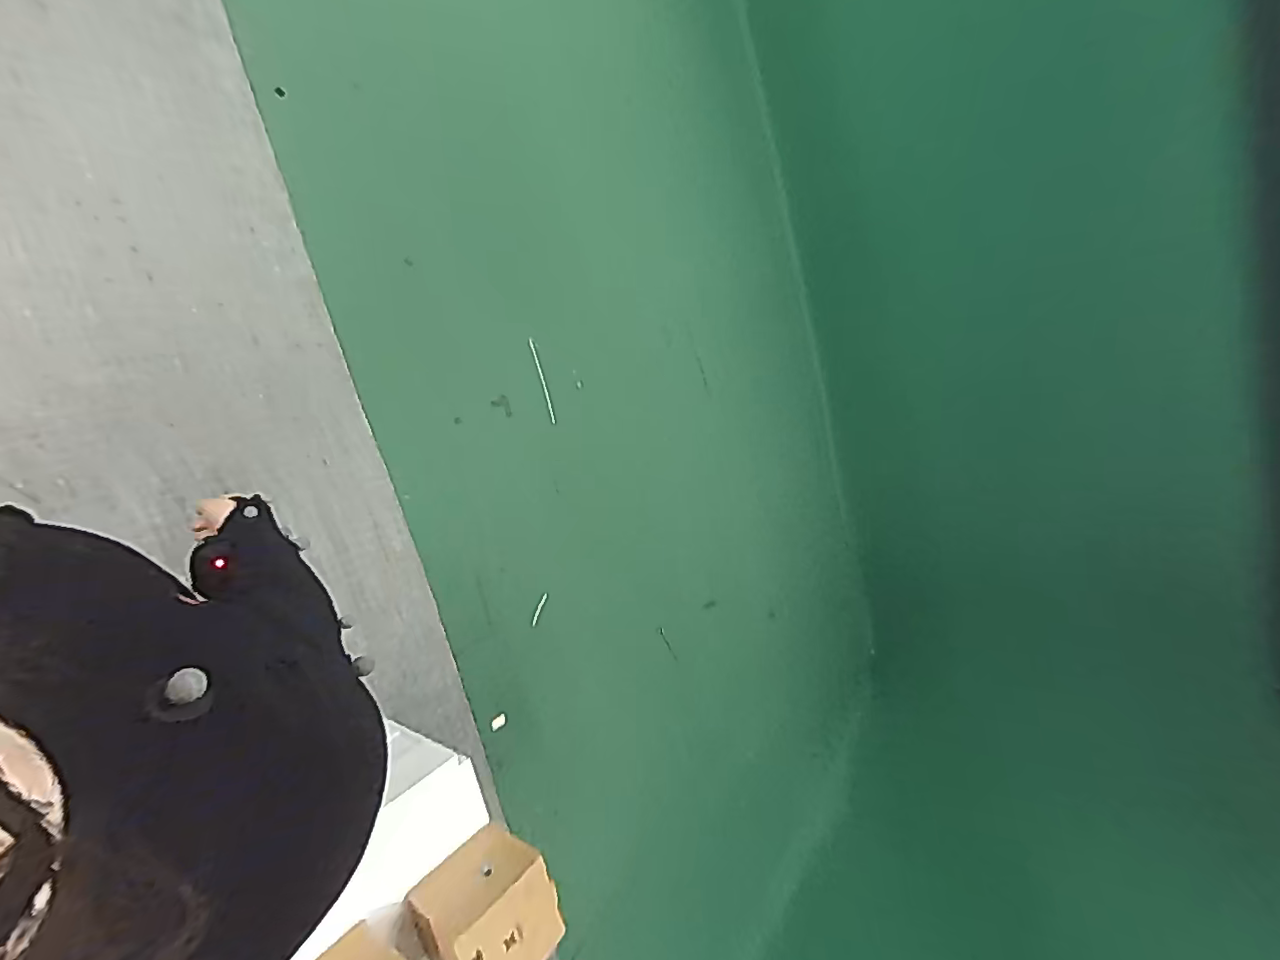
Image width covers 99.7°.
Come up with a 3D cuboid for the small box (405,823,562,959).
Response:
[{"bbox_3d":[-0.269,0.743,0.935,0.179,0.176,0.168,-24,103,-46],"label":"small box"}]
